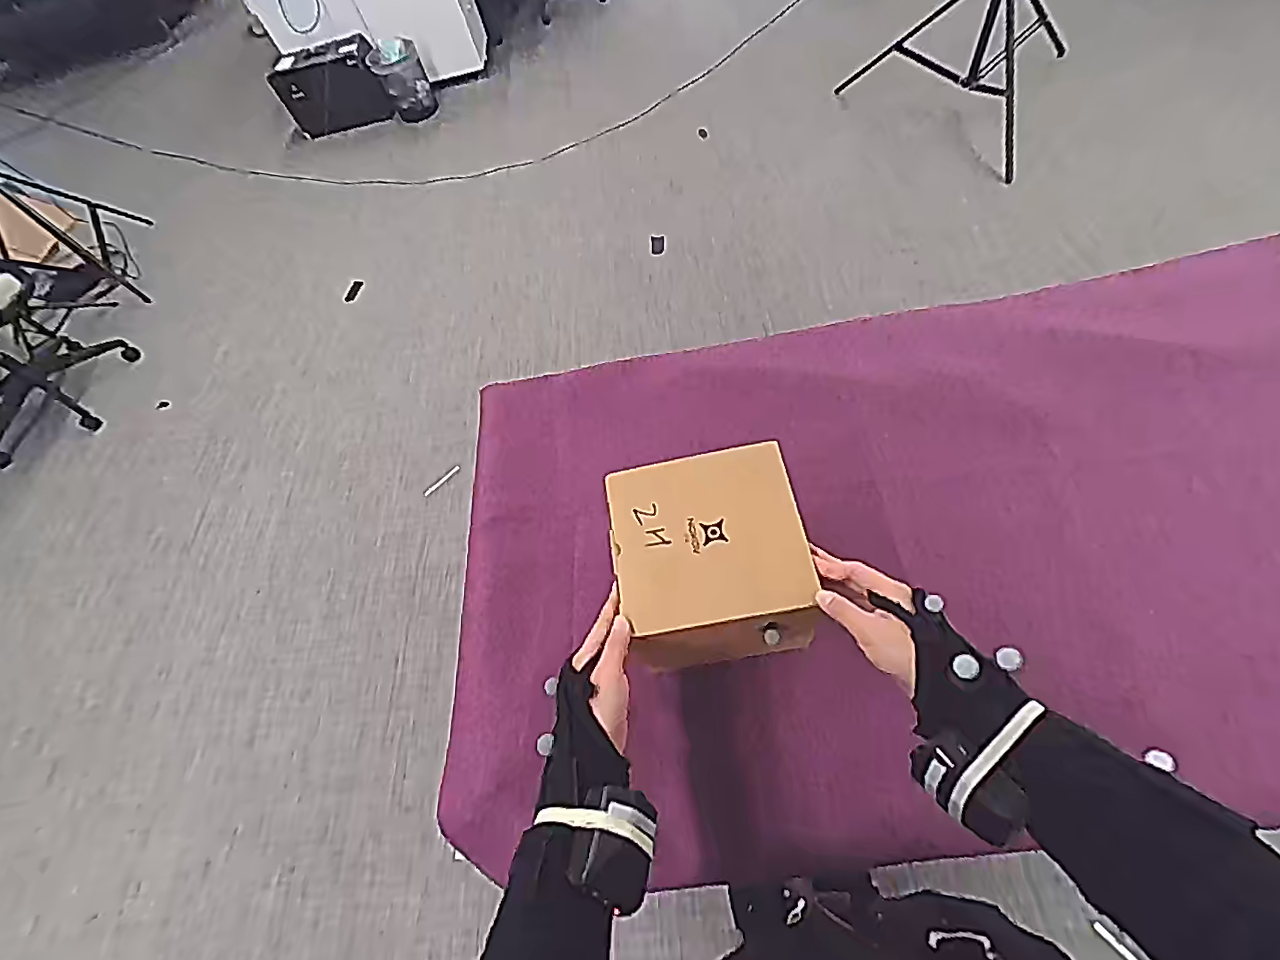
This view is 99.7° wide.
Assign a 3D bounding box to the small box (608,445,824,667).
[{"bbox_3d":[0.074,0.088,0.566,0.179,0.176,0.168,-11,60,6],"label":"small box"}]
